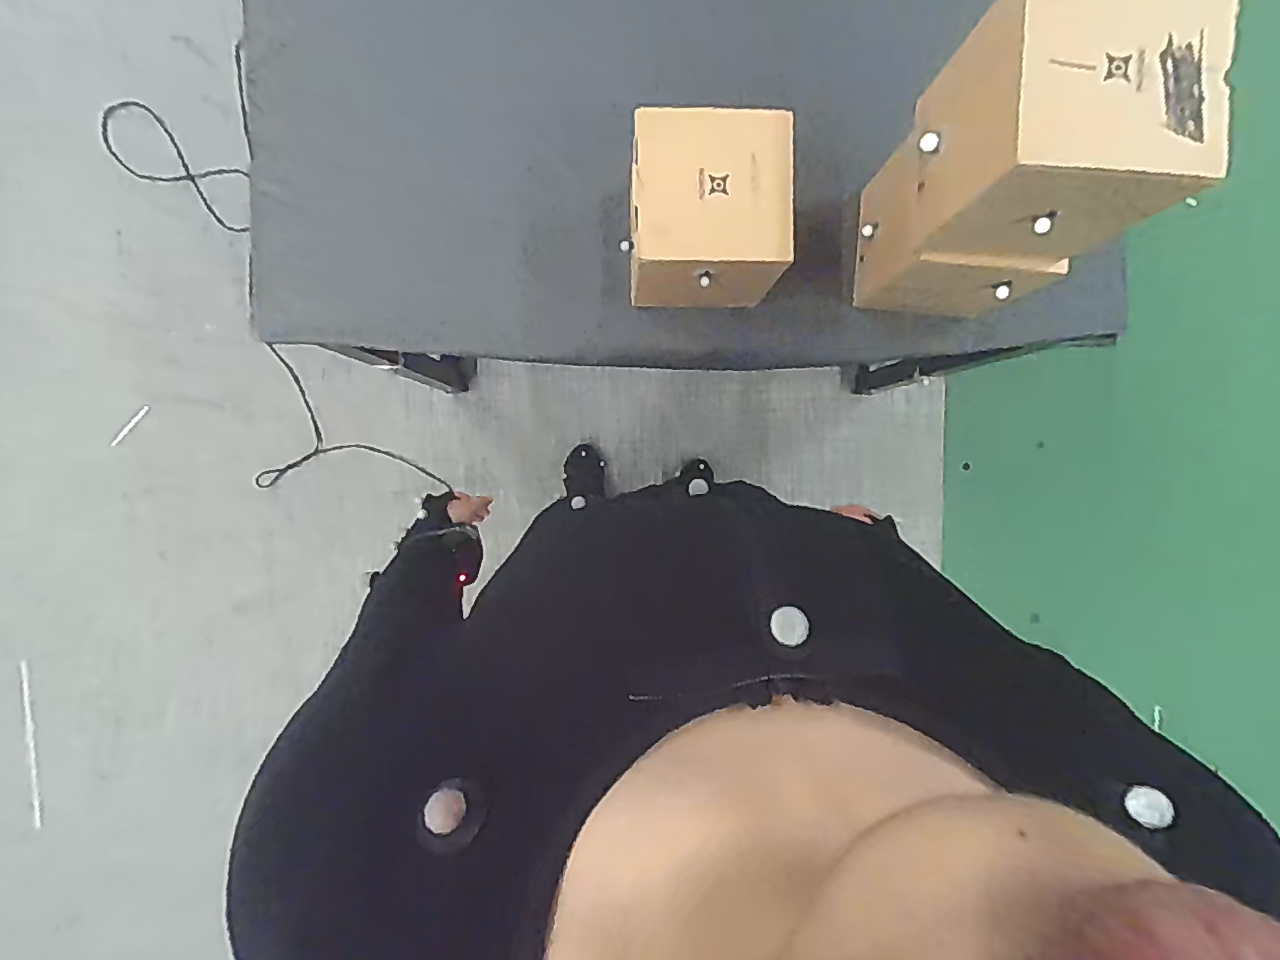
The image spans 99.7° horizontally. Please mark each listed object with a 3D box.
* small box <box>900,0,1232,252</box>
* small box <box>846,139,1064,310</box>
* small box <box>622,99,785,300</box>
[{"bbox_3d":[0.375,-0.329,0.506,0.179,0.176,0.168,3,91,-1],"label":"small box"},{"bbox_3d":[0.382,-0.320,0.670,0.179,0.176,0.168,4,90,-3],"label":"small box"},{"bbox_3d":[0.066,-0.325,0.659,0.179,0.176,0.168,-1,92,-4],"label":"small box"}]
